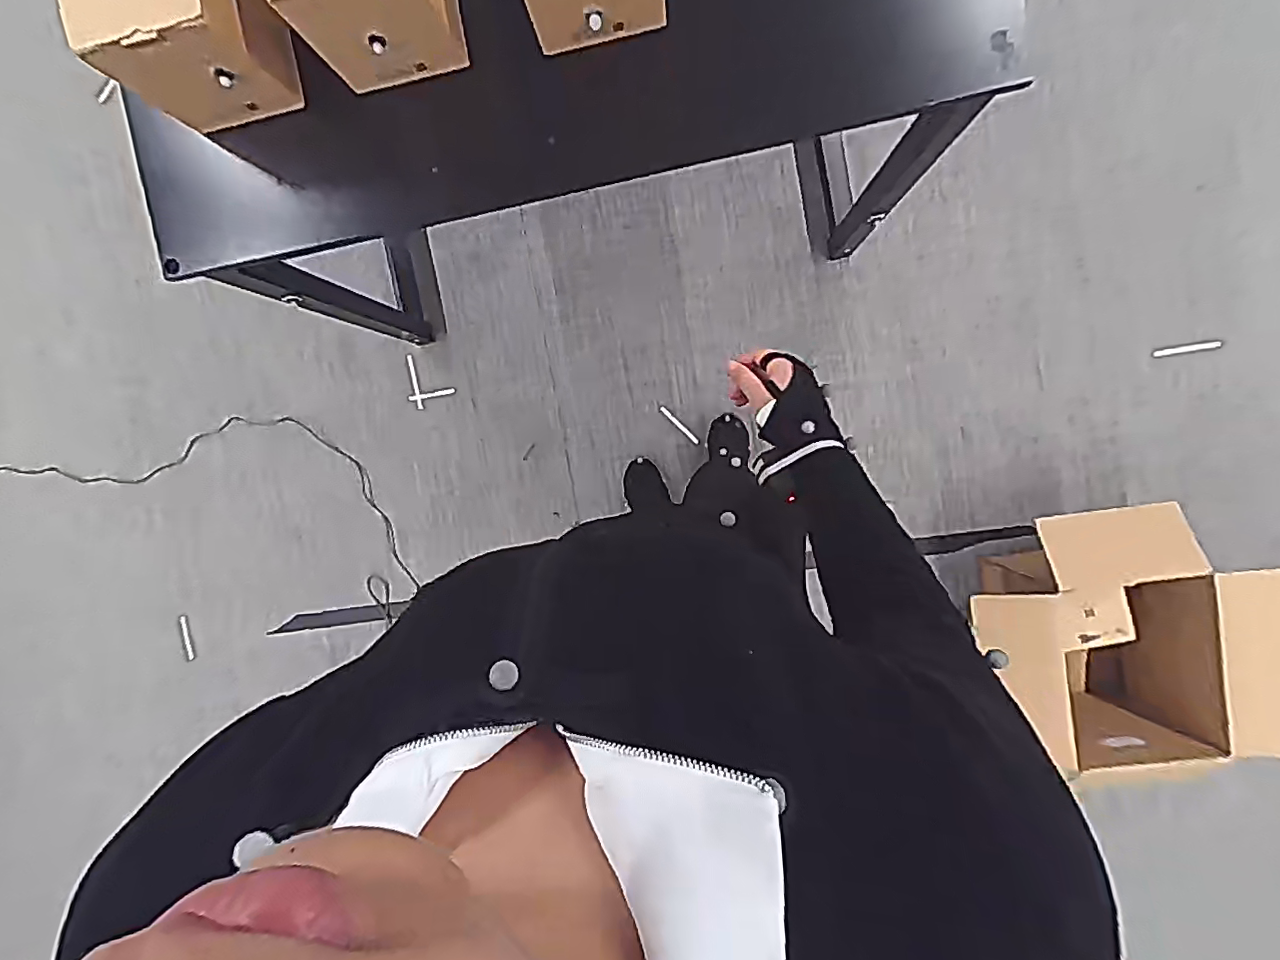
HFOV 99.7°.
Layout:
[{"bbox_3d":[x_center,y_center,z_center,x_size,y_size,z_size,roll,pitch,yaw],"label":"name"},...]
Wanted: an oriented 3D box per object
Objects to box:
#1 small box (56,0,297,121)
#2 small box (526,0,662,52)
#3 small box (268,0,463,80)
[{"bbox_3d":[-0.566,-0.584,0.671,0.168,0.176,0.179,-10,93,4],"label":"small box"},{"bbox_3d":[-0.068,-0.653,0.622,0.168,0.176,0.179,-9,95,6],"label":"small box"},{"bbox_3d":[-0.330,-0.620,0.646,0.168,0.176,0.179,-9,94,5],"label":"small box"}]
